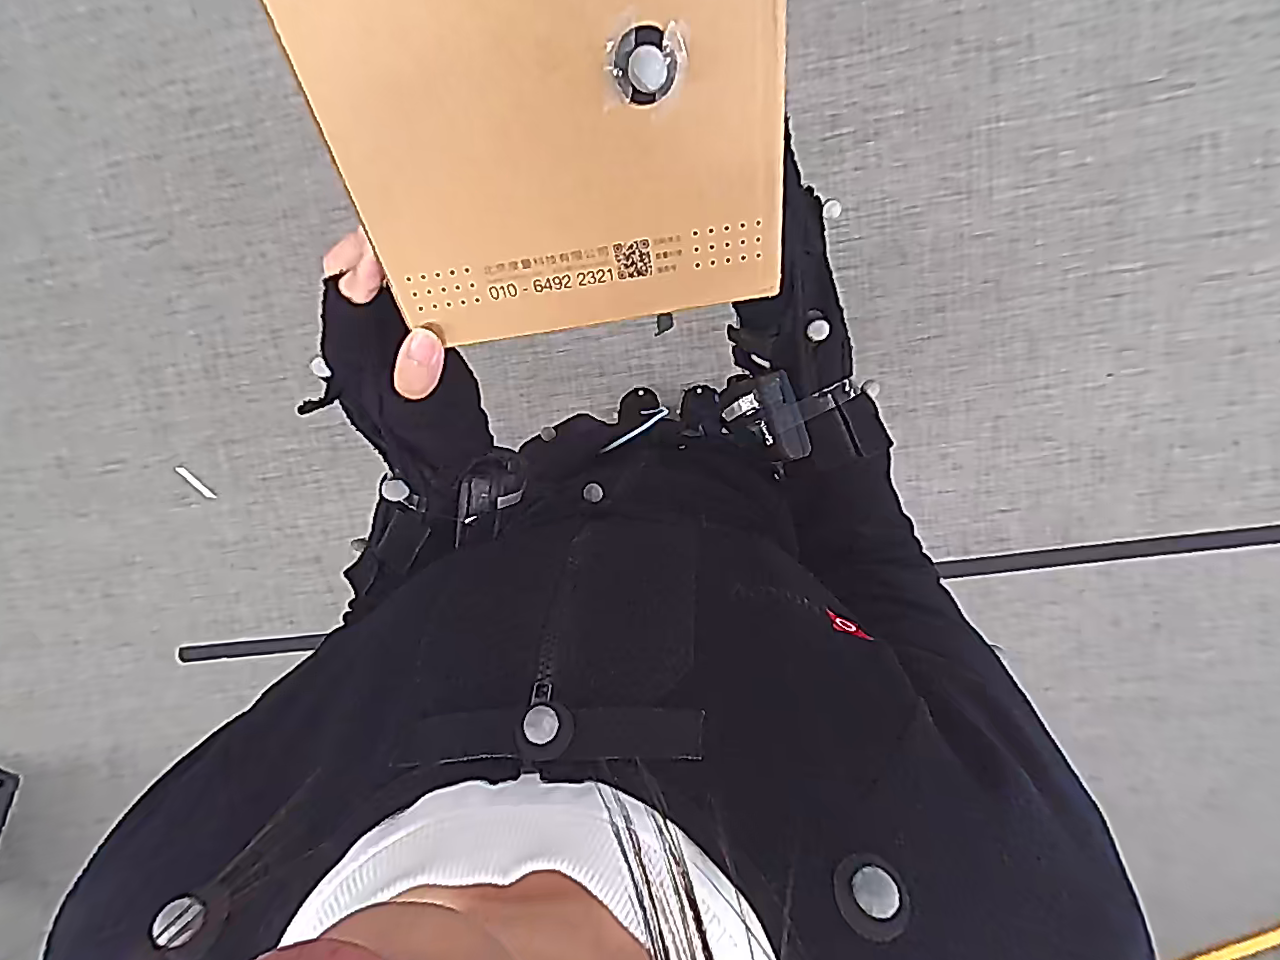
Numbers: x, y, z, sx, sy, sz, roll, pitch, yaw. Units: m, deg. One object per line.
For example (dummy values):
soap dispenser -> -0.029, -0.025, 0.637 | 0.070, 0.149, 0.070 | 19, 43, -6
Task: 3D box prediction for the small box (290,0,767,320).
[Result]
small box -> -0.032, -0.190, 0.272 | 0.168, 0.179, 0.176 | -7, 130, 5
